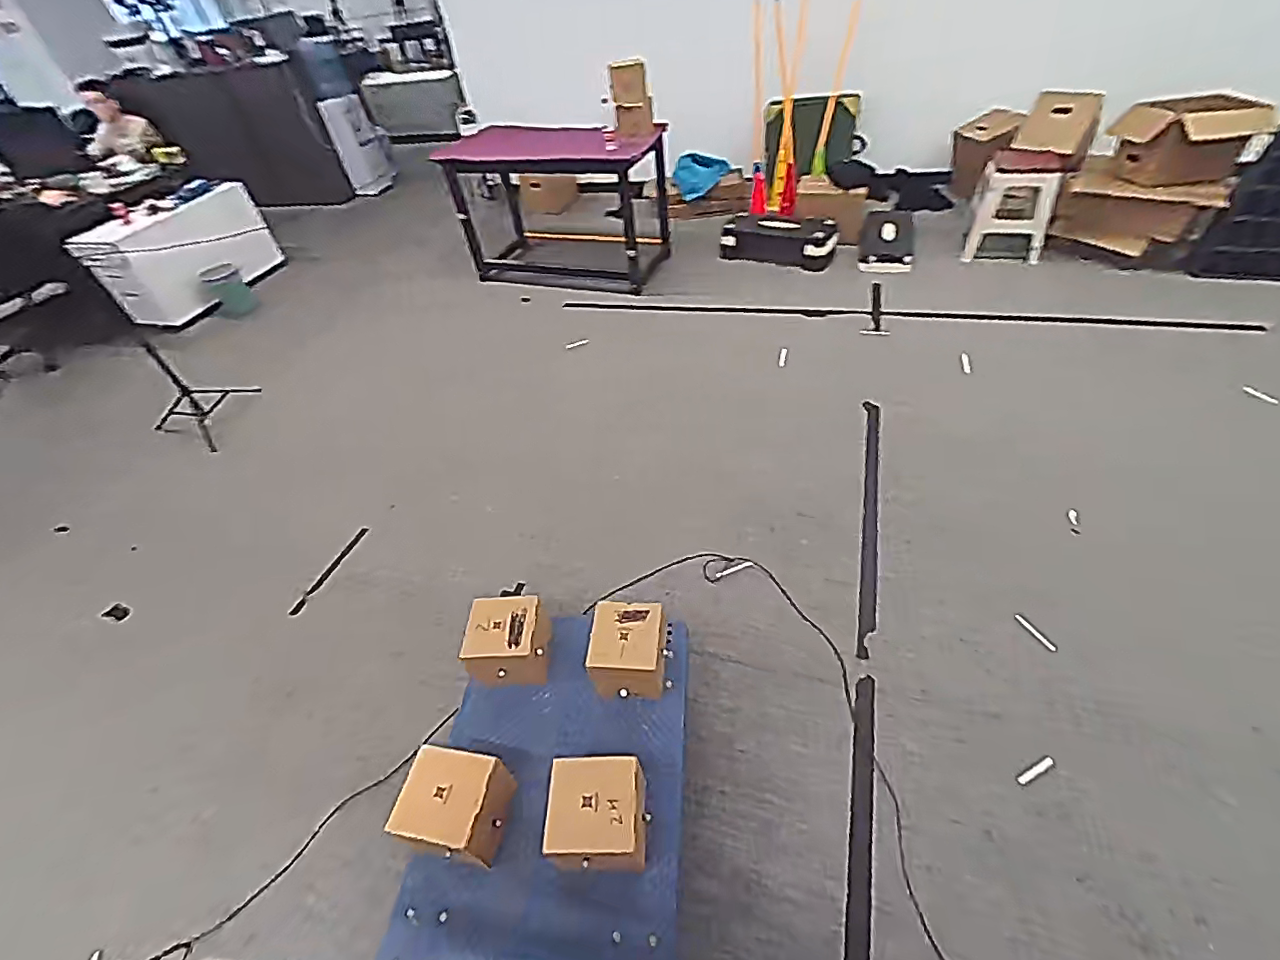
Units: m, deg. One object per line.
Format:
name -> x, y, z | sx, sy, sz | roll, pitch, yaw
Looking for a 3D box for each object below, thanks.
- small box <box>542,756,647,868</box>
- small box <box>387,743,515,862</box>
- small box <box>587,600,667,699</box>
small box -> -0.083, 0.678, 1.101 | 0.179, 0.176, 0.168 | -4, 45, 6
small box -> -0.388, 0.684, 1.145 | 0.179, 0.176, 0.168 | 4, 46, 11
small box -> -0.024, 0.420, 1.346 | 0.168, 0.176, 0.179 | 0, 47, 10
